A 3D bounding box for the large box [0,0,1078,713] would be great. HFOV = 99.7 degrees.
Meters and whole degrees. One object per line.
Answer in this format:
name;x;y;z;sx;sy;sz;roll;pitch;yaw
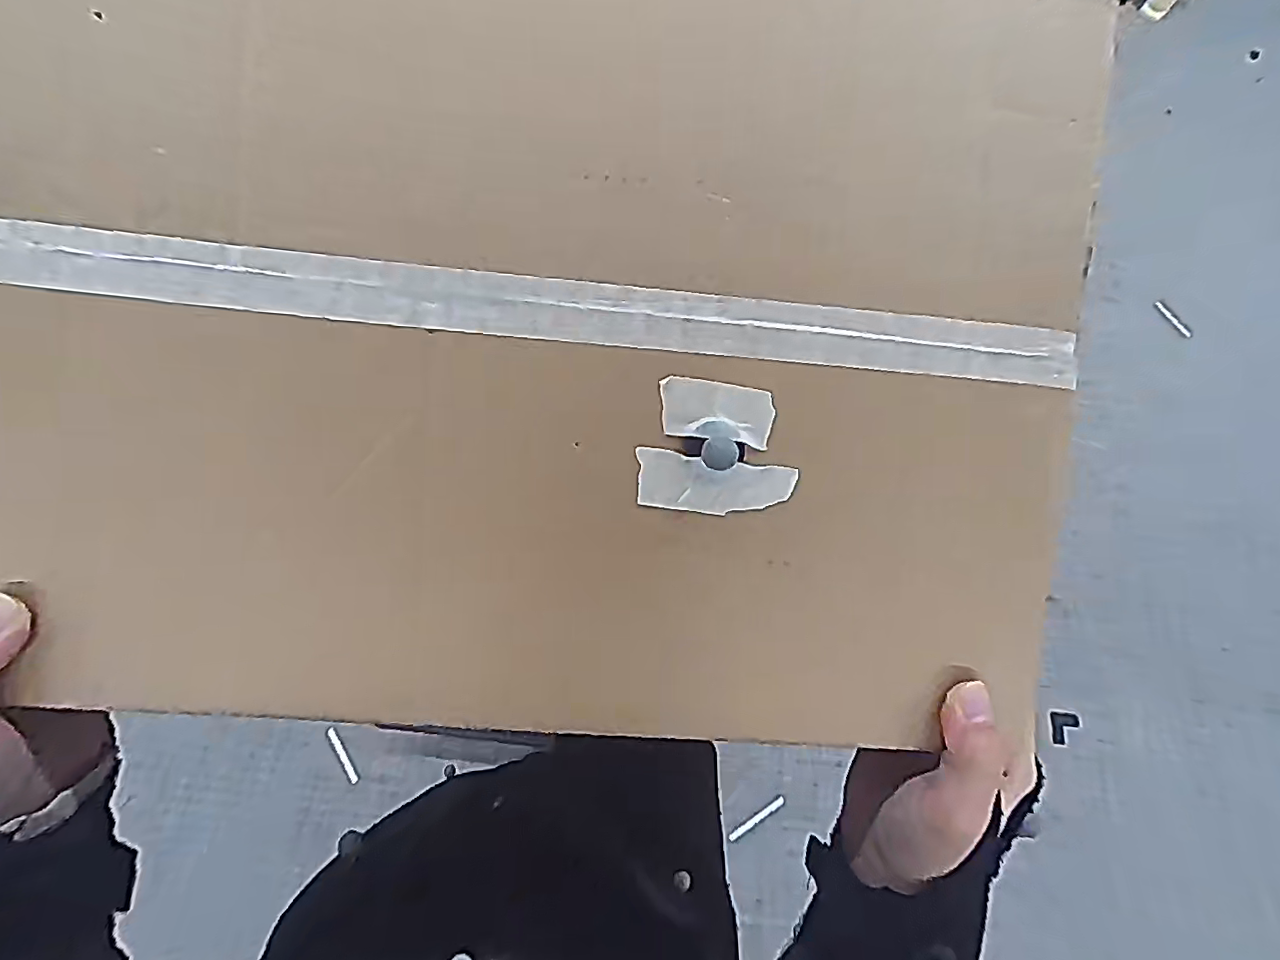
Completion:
large box;-0.042;-0.071;0.357;0.408;0.320;0.320;5;94;-5
